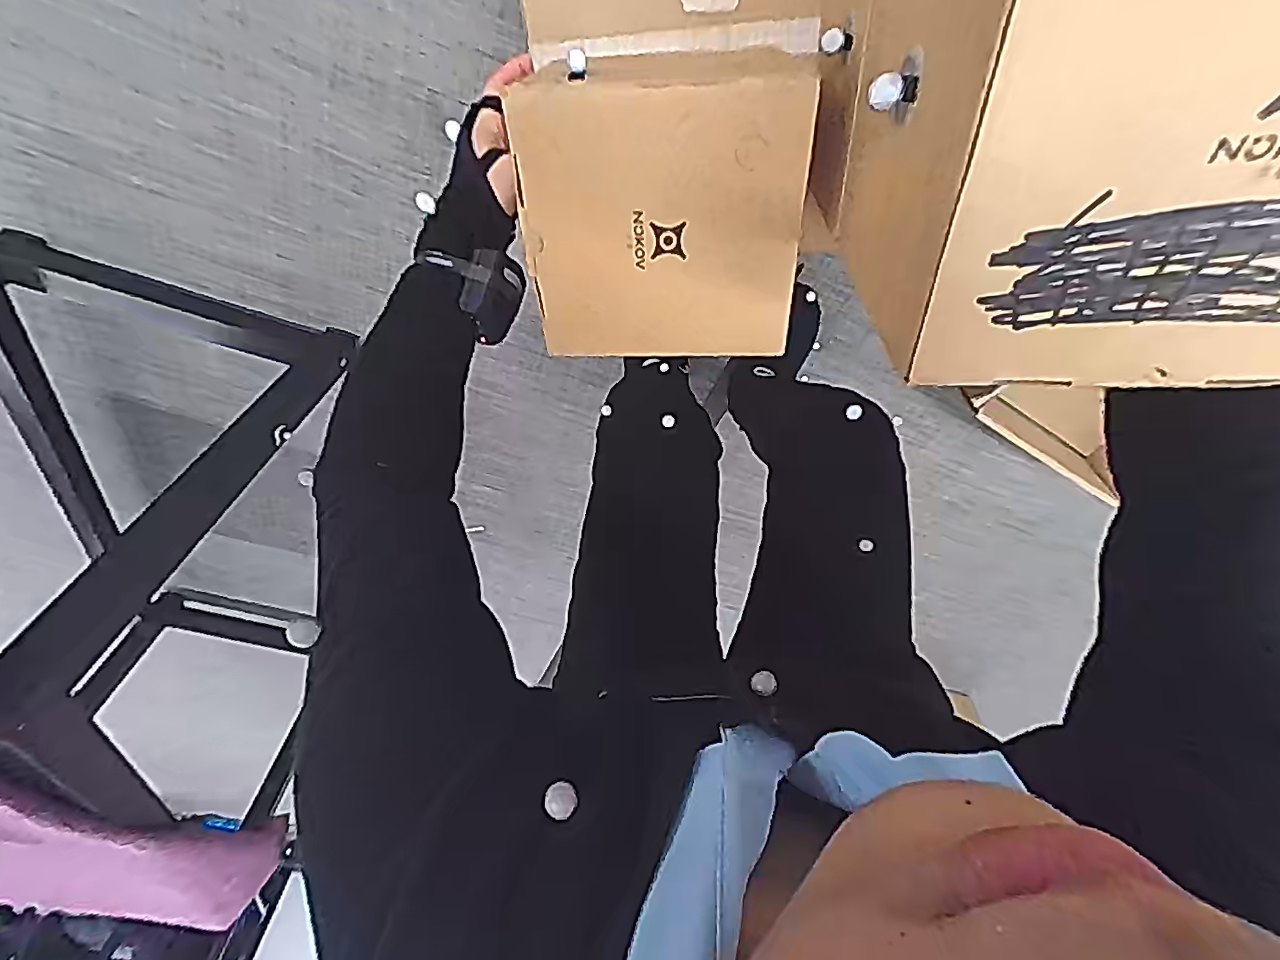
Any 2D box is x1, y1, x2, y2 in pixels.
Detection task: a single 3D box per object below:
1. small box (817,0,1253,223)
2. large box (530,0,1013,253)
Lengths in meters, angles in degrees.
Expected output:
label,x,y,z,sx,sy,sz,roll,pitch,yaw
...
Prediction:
label,x,y,z,sx,sy,sz,roll,pitch,yaw
small box,0.207,-0.271,0.318,0.168,0.176,0.179,1,132,8
large box,0.134,-0.435,0.511,0.408,0.320,0.320,1,130,8
